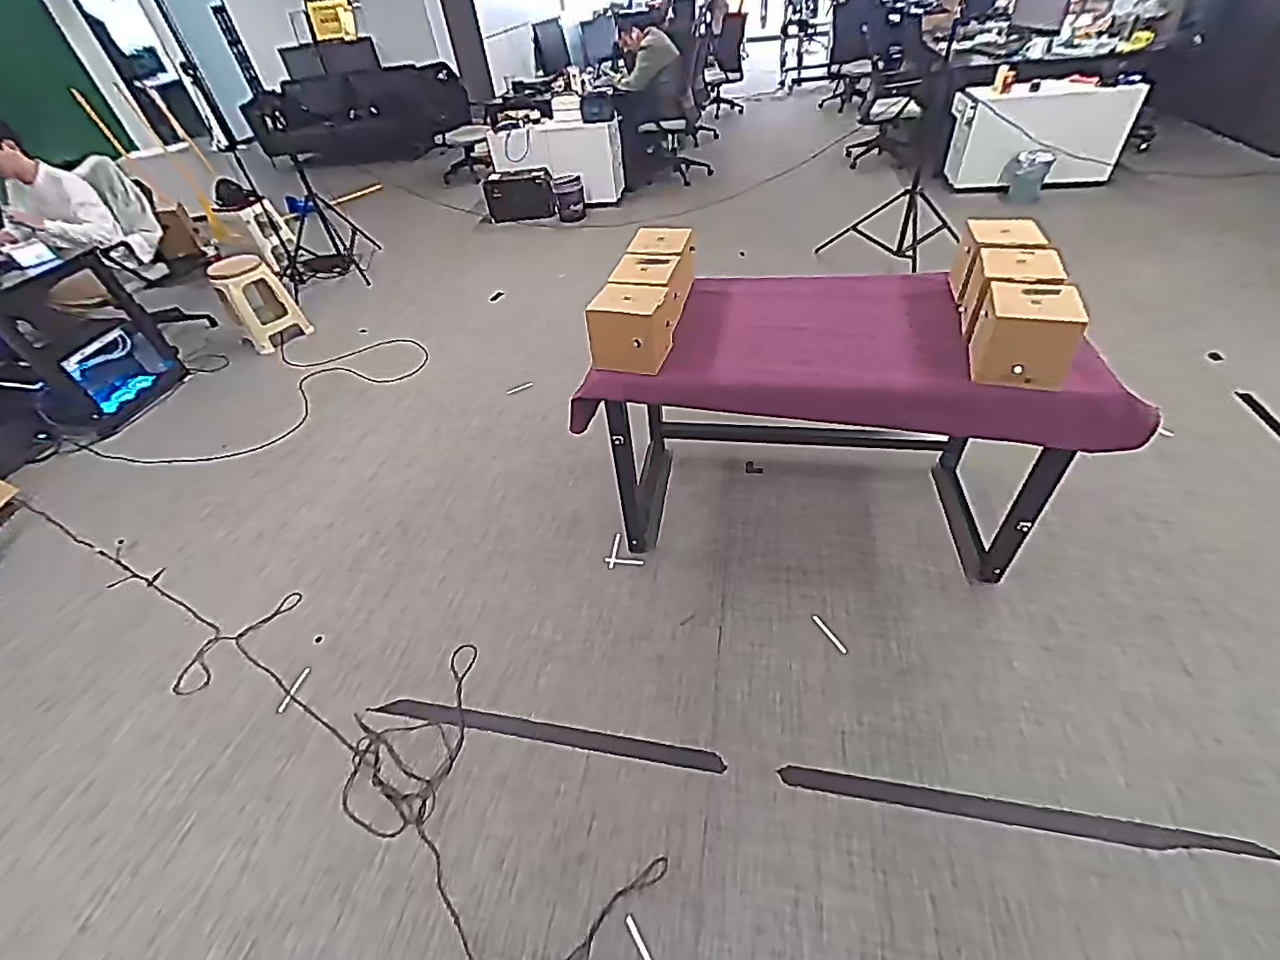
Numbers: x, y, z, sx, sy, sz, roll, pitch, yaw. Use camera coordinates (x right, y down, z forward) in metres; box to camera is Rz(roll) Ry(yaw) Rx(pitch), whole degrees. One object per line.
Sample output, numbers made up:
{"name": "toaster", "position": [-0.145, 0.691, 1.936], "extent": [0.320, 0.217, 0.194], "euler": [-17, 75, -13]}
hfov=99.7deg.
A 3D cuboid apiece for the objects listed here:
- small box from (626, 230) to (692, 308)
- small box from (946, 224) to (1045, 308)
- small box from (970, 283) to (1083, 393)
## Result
{"name": "small box", "position": [0.063, -0.649, 1.662], "extent": [0.168, 0.176, 0.179], "euler": [7, 46, 14]}
{"name": "small box", "position": [0.962, -0.586, 1.484], "extent": [0.168, 0.176, 0.179], "euler": [7, 45, 13]}
{"name": "small box", "position": [0.860, -0.322, 1.221], "extent": [0.168, 0.176, 0.179], "euler": [11, 50, 22]}
